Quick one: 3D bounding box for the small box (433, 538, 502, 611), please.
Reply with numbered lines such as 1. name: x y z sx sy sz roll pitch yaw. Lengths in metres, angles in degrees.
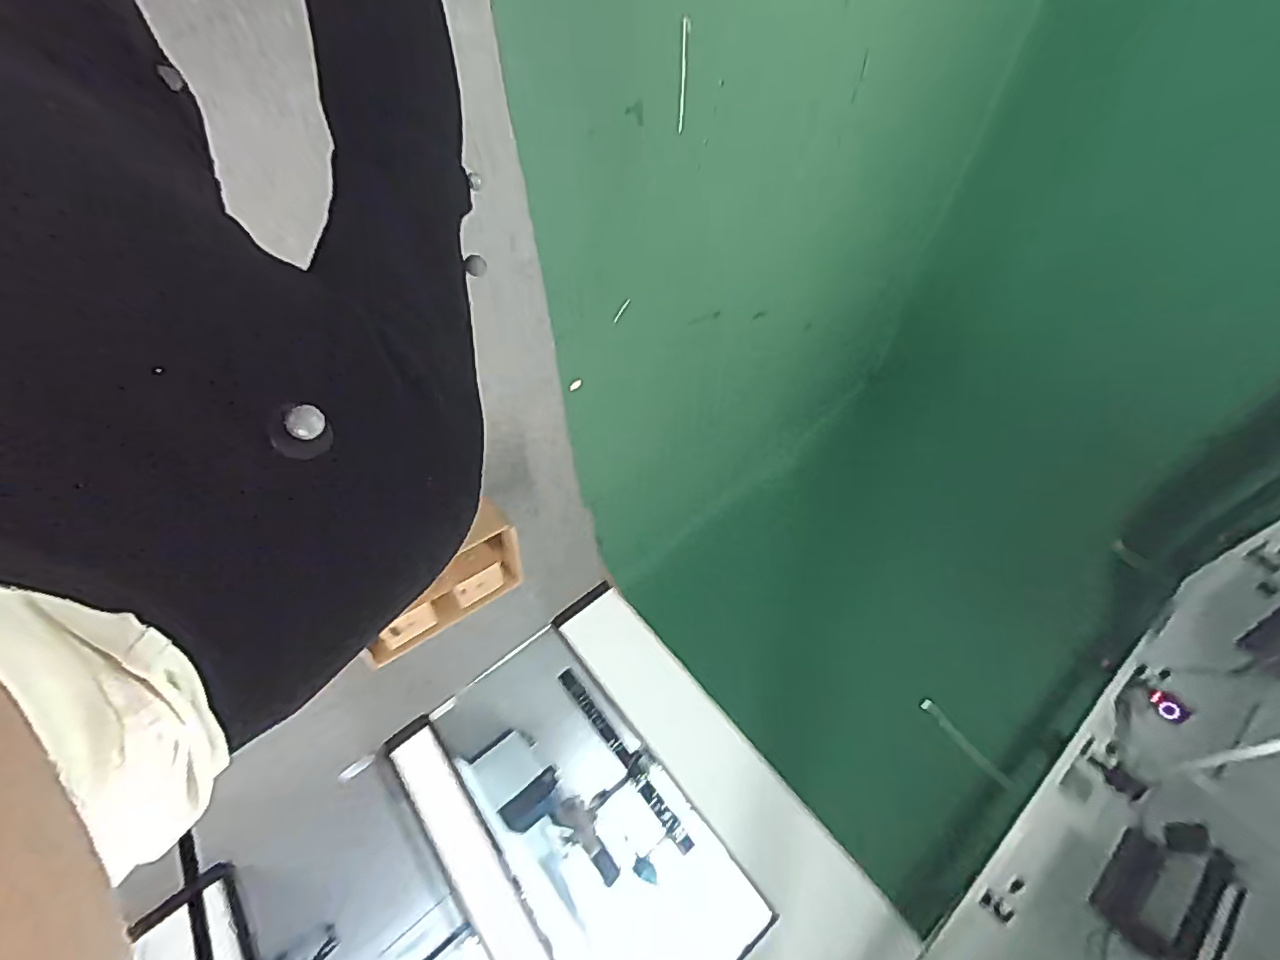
1. small box: -0.643 0.348 2.019 0.179 0.176 0.168 -30 148 -28
